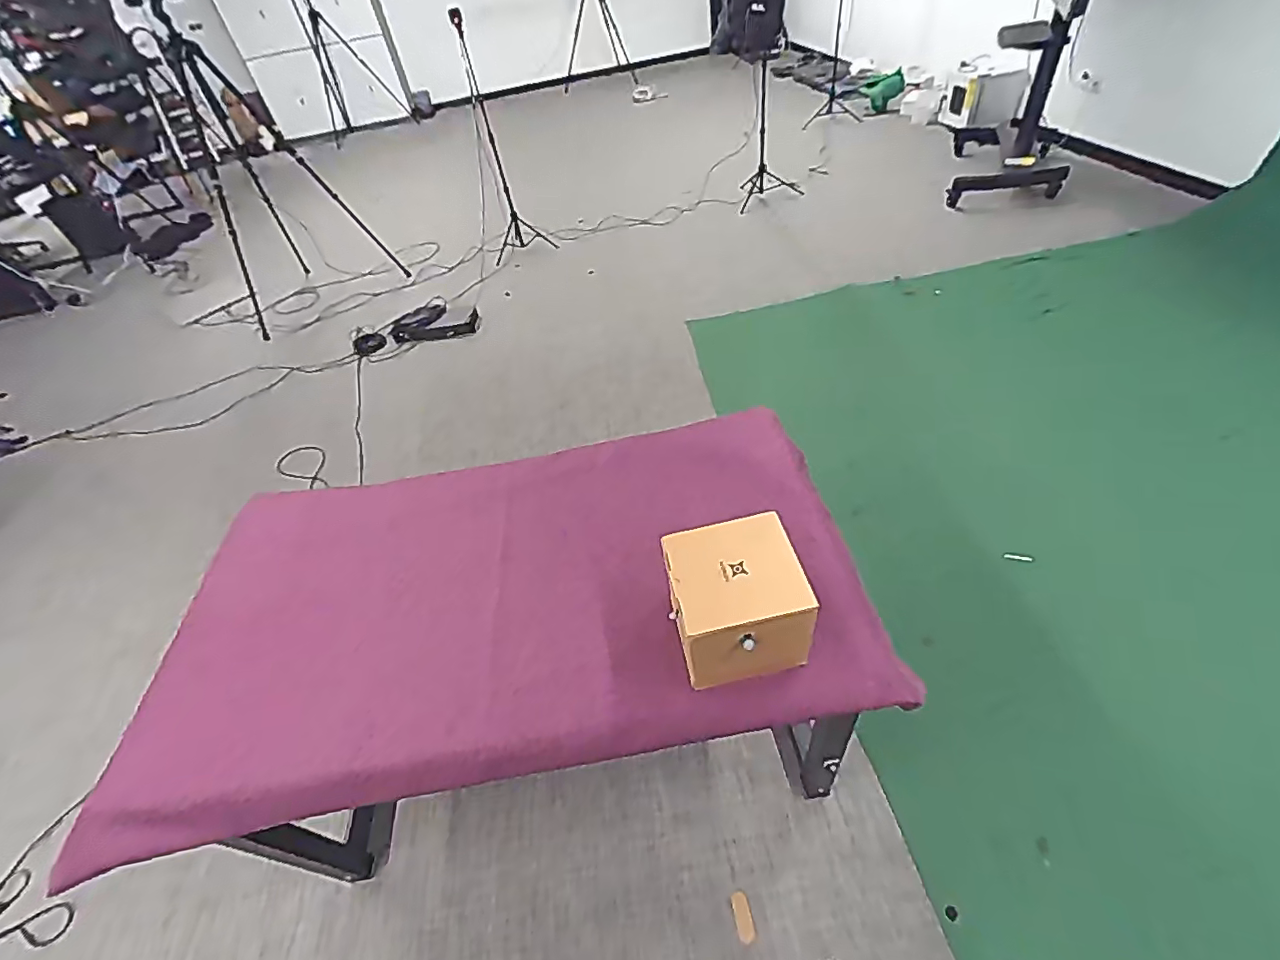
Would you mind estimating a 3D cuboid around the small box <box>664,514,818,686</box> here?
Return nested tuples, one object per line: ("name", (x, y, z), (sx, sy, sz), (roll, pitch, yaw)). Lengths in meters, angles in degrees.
("small box", (0.144, 0.180, 0.799), (0.179, 0.176, 0.168), (-15, 47, 1))
